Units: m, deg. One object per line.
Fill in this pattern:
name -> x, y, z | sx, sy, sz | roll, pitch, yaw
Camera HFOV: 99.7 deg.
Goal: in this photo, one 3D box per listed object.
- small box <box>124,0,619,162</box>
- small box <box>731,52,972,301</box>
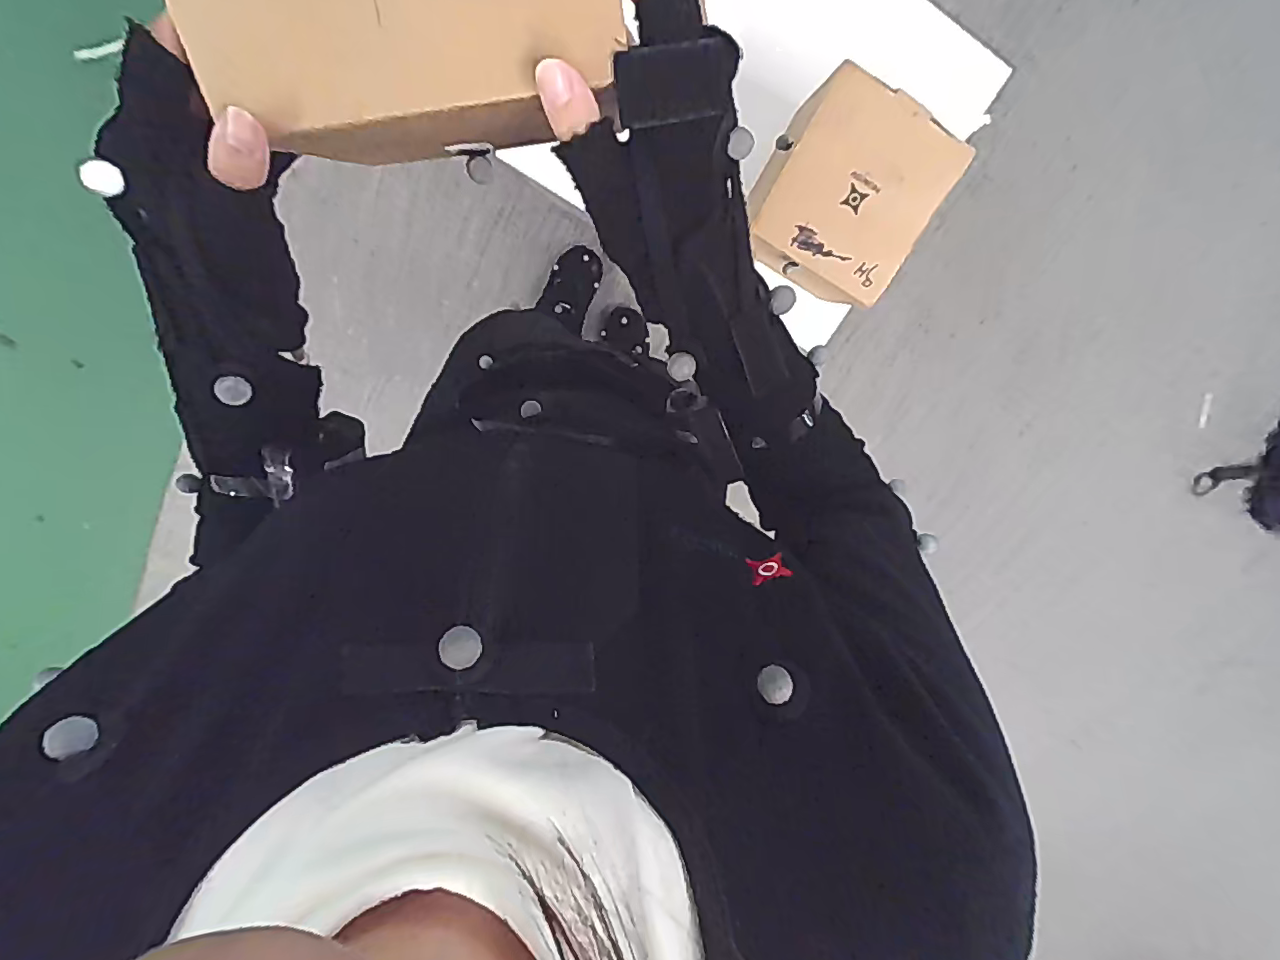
small box -> -0.103, -0.252, 0.232 | 0.168, 0.176, 0.179 | -8, 118, 2
small box -> 0.224, -0.331, 0.630 | 0.168, 0.176, 0.179 | 28, 108, -10
